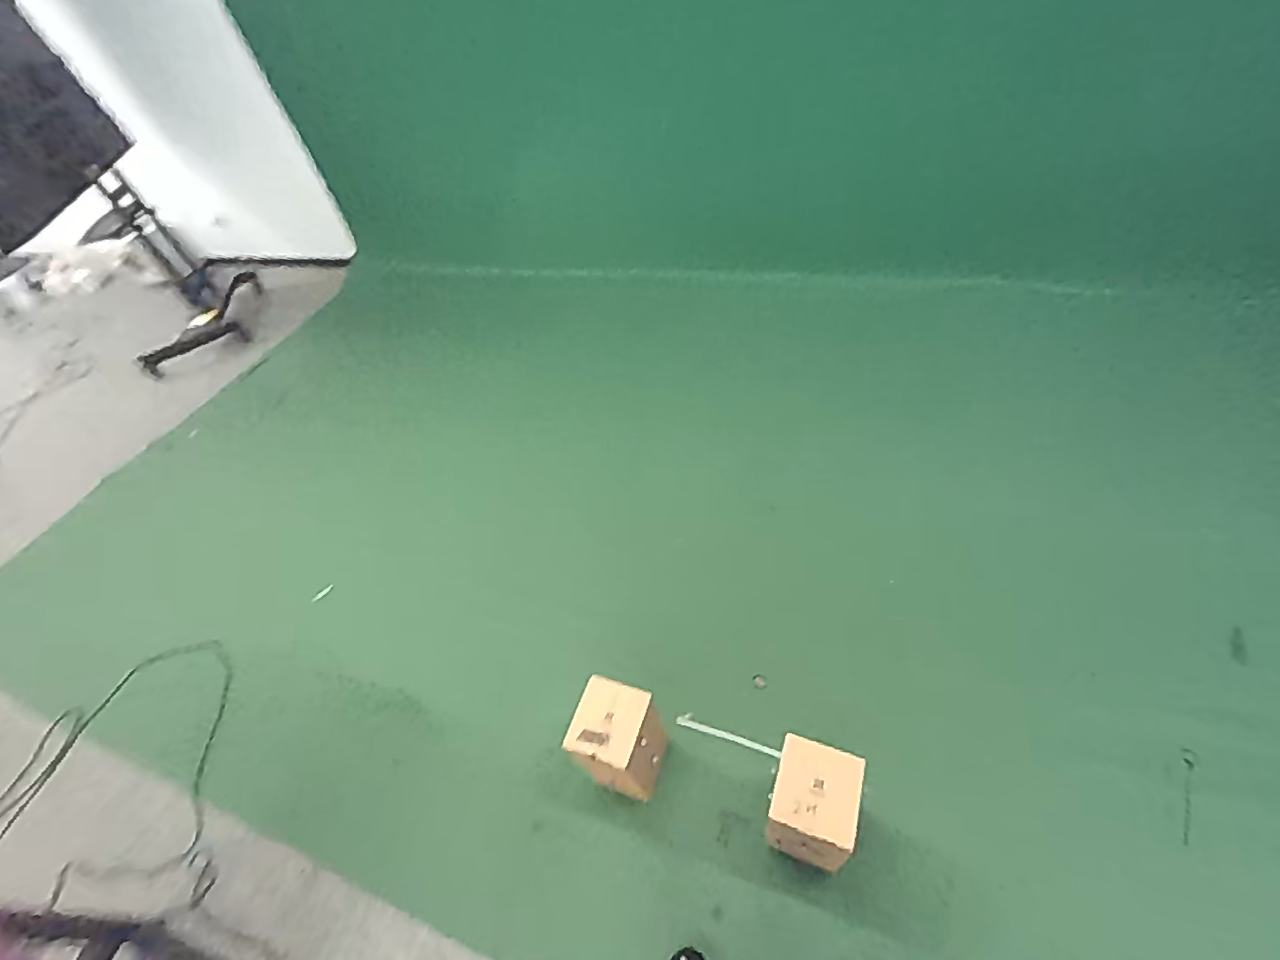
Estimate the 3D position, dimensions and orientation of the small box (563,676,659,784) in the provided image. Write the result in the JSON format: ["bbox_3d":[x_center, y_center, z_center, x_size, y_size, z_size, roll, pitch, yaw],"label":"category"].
[{"bbox_3d":[-0.062,0.618,1.331,0.168,0.176,0.179,10,52,21],"label":"small box"}]

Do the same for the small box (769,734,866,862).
[{"bbox_3d":[0.378,0.687,1.168,0.168,0.176,0.179,11,53,22],"label":"small box"}]

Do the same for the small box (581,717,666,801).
[{"bbox_3d":[-0.035,0.727,1.451,0.168,0.176,0.179,10,52,21],"label":"small box"}]
